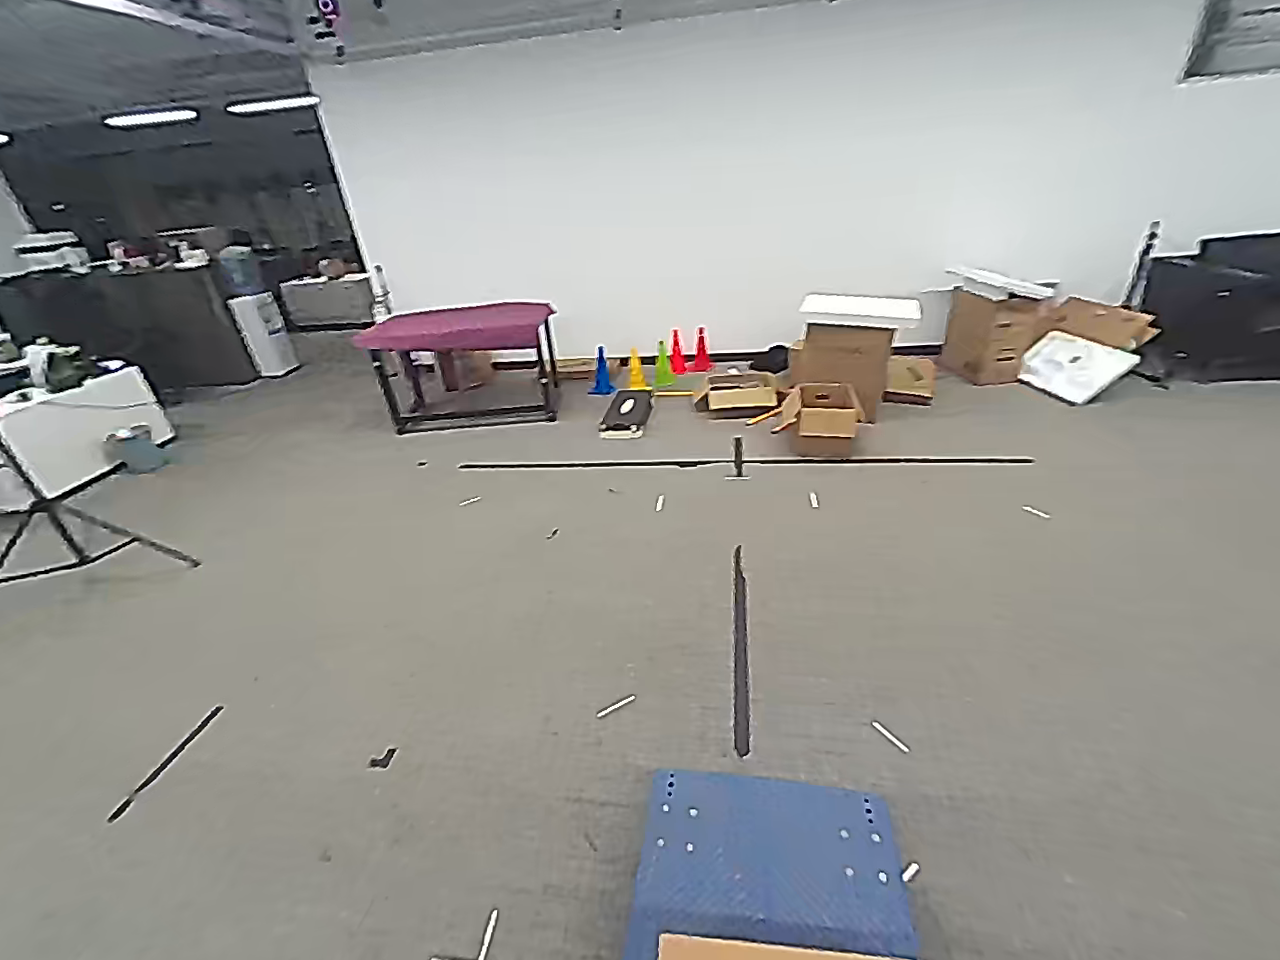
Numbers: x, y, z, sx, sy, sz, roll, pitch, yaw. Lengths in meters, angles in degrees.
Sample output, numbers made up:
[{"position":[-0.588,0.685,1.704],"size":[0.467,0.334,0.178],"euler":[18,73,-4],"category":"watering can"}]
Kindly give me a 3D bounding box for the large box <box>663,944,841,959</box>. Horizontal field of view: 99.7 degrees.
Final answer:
[{"position":[0.228,0.952,0.789],"size":[0.408,0.320,0.320],"euler":[0,30,7],"category":"large box"}]
